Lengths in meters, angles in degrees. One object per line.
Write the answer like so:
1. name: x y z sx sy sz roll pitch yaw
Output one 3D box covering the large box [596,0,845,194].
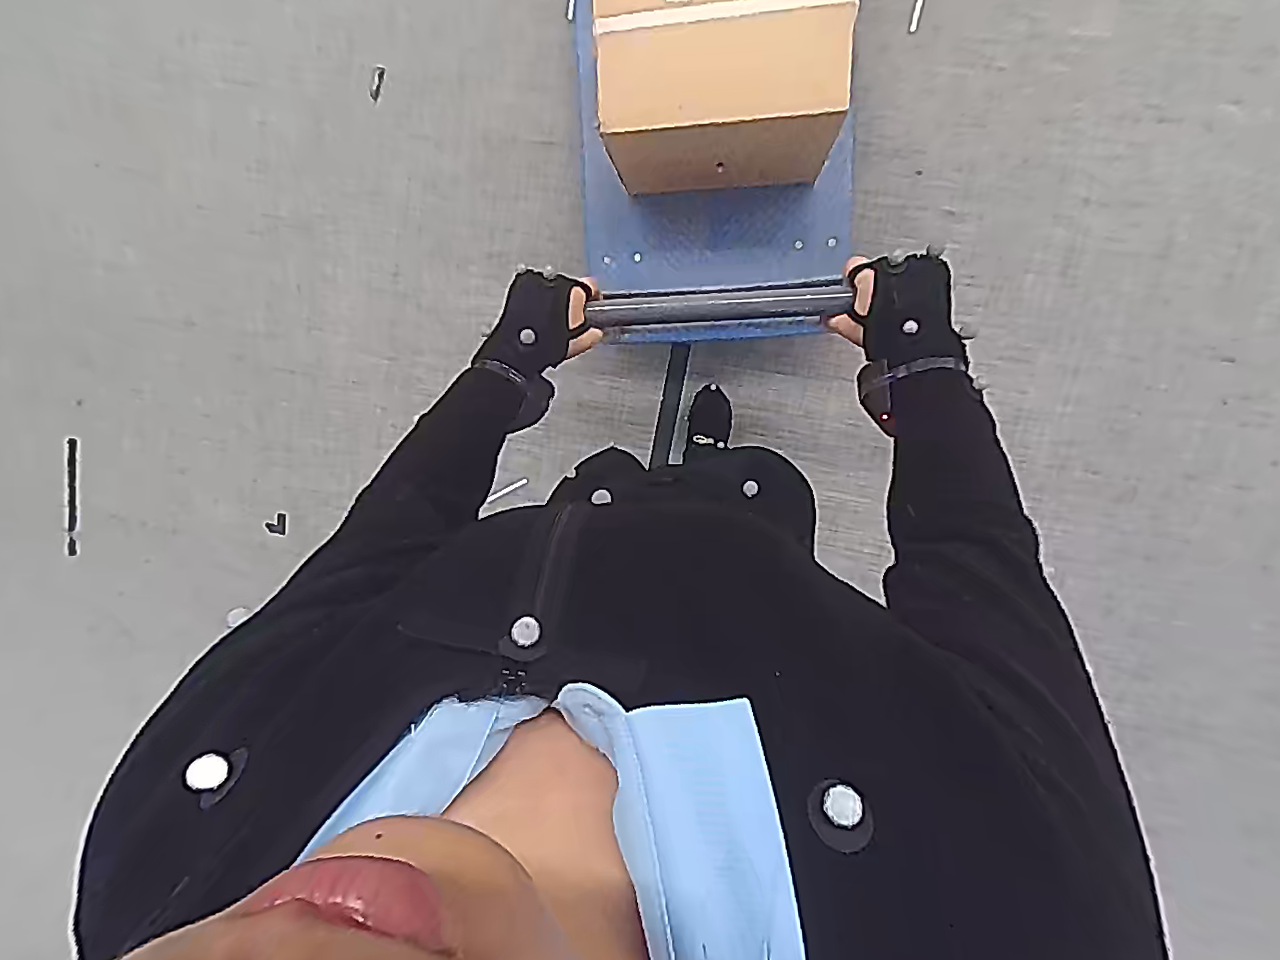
1. large box: 0.149 -0.767 1.019 0.408 0.320 0.320 0 99 9
